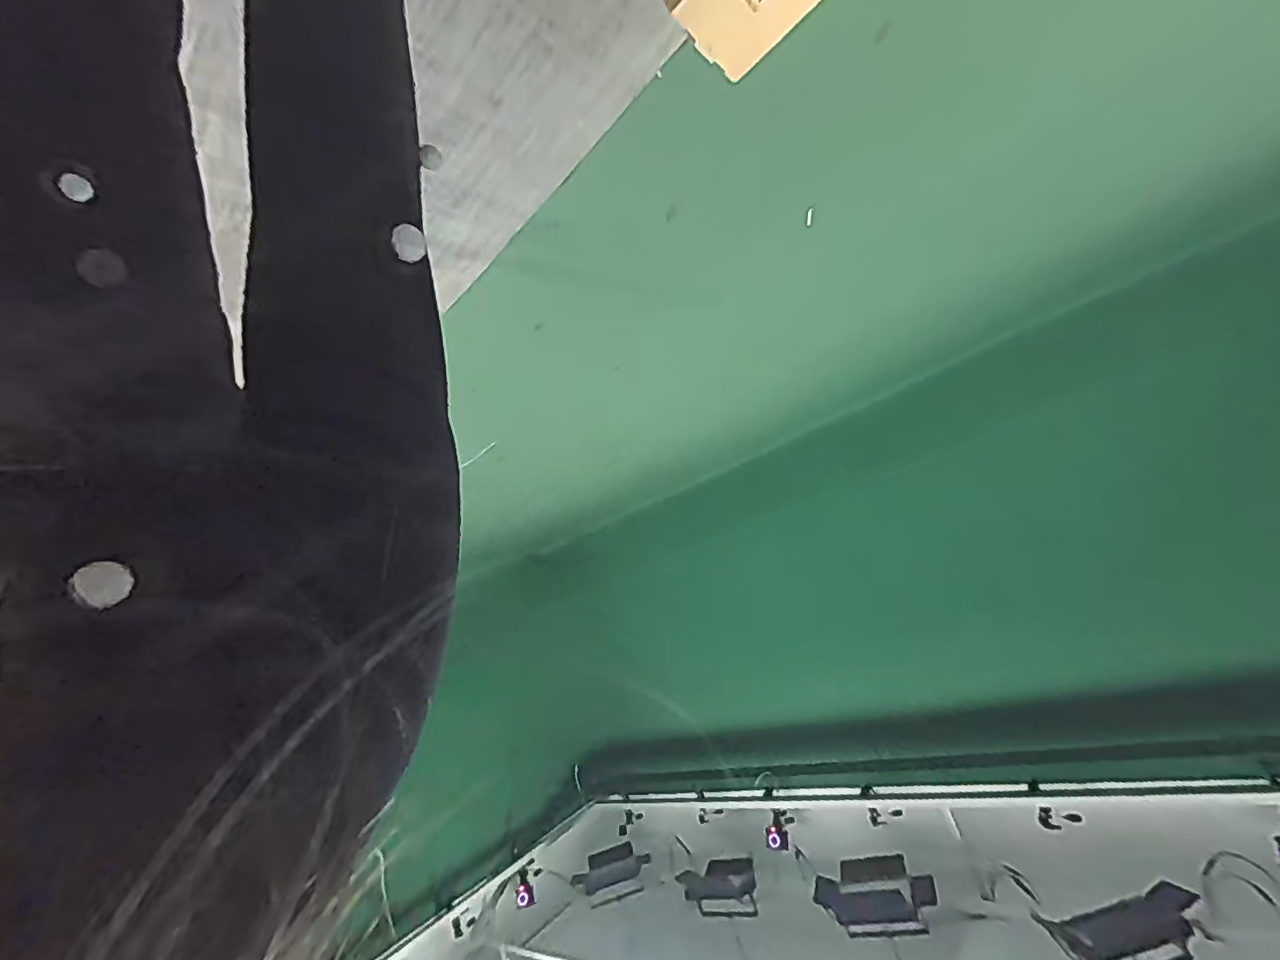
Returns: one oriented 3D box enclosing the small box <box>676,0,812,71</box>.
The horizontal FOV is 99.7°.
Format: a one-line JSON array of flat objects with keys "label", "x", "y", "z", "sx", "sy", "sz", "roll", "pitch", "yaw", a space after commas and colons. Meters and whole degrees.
[{"label": "small box", "x": 0.124, "y": -0.686, "z": 0.675, "sx": 0.179, "sy": 0.176, "sz": 0.168, "roll": -27, "pitch": 166, "yaw": 37}]
